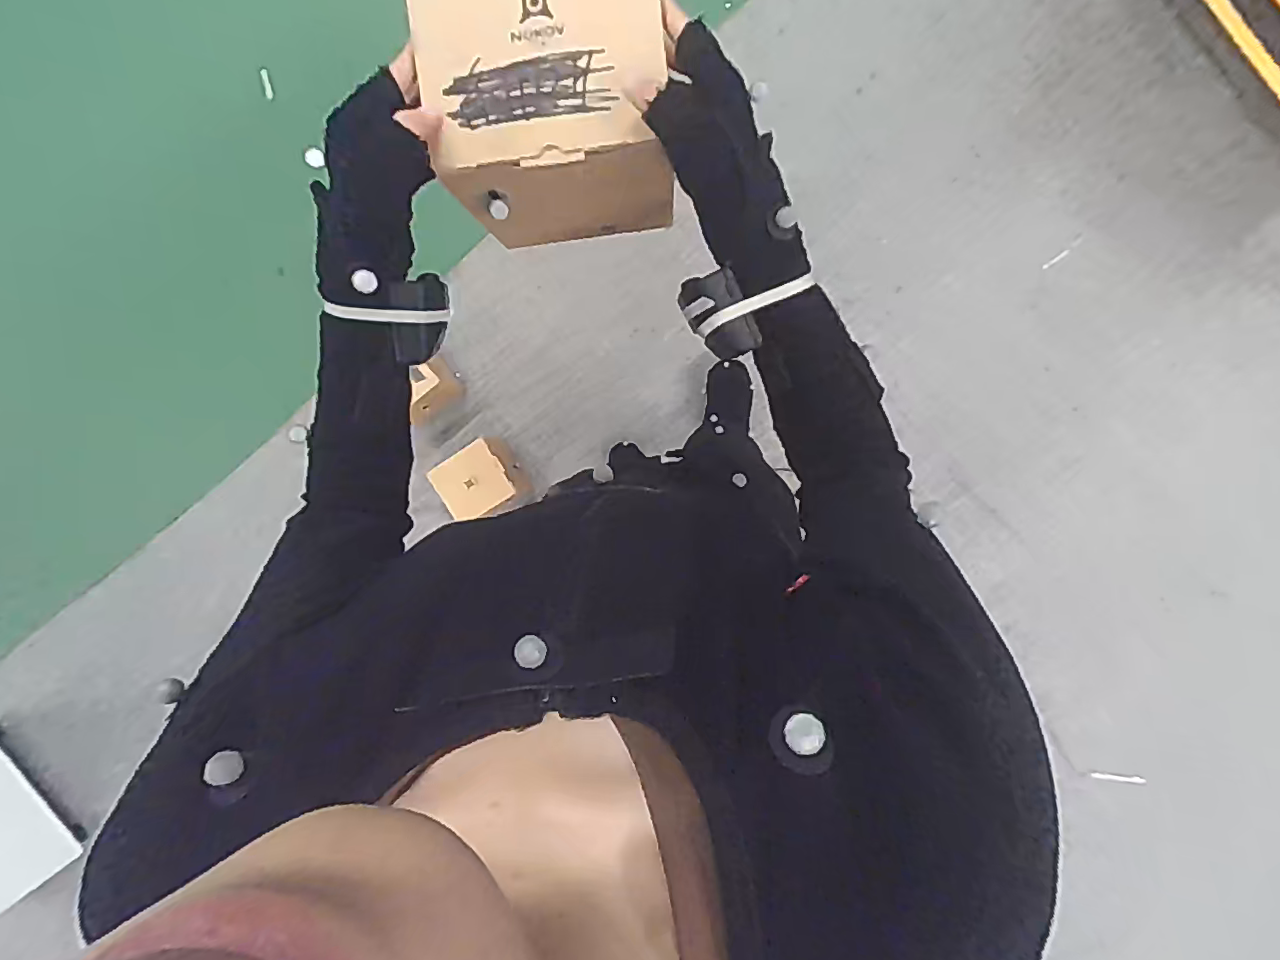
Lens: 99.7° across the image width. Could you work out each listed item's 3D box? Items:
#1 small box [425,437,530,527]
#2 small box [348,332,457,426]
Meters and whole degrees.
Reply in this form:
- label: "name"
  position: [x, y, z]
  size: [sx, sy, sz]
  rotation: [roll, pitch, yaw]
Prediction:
- label: "small box"
  position: [-0.417, 0.001, 1.421]
  size: [0.179, 0.176, 0.168]
  rotation: [-33, 92, 5]
- label: "small box"
  position: [-0.604, -0.257, 1.410]
  size: [0.179, 0.176, 0.168]
  rotation: [-38, 92, 6]
